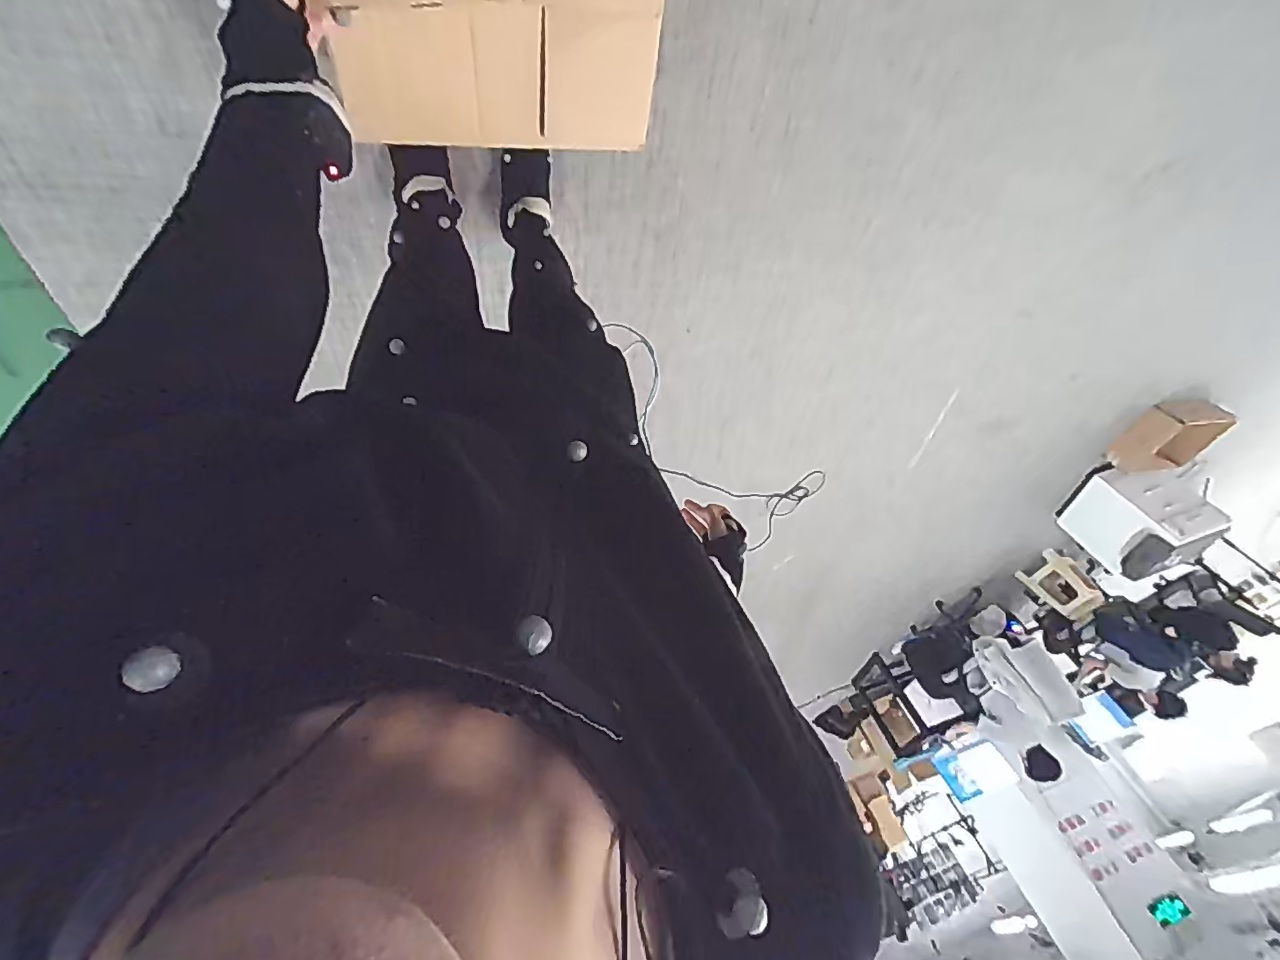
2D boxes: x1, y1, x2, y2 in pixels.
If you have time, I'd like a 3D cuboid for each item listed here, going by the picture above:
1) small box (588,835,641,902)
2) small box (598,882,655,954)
[{"bbox_3d":[-0.110,1.593,2.218,0.179,0.176,0.168,-11,138,-17],"label":"small box"},{"bbox_3d":[-0.057,1.710,2.115,0.179,0.176,0.168,-12,138,-16],"label":"small box"}]
